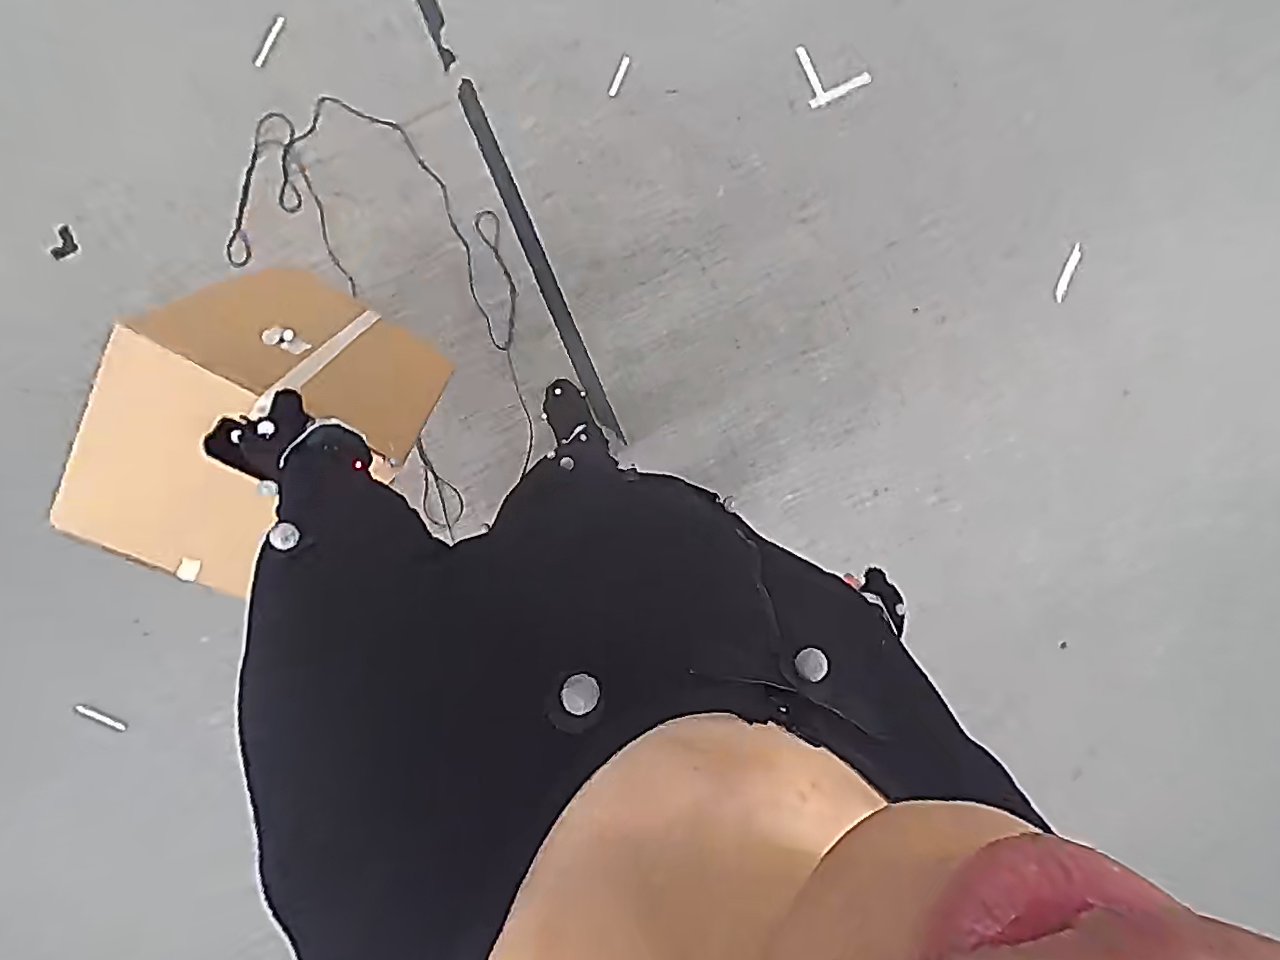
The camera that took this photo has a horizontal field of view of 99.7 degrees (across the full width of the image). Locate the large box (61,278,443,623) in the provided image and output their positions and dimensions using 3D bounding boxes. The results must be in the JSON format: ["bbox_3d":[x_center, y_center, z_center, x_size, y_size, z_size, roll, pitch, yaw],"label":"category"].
[{"bbox_3d":[-0.552,-0.062,0.853,0.320,0.408,0.320,29,112,-23],"label":"large box"}]
